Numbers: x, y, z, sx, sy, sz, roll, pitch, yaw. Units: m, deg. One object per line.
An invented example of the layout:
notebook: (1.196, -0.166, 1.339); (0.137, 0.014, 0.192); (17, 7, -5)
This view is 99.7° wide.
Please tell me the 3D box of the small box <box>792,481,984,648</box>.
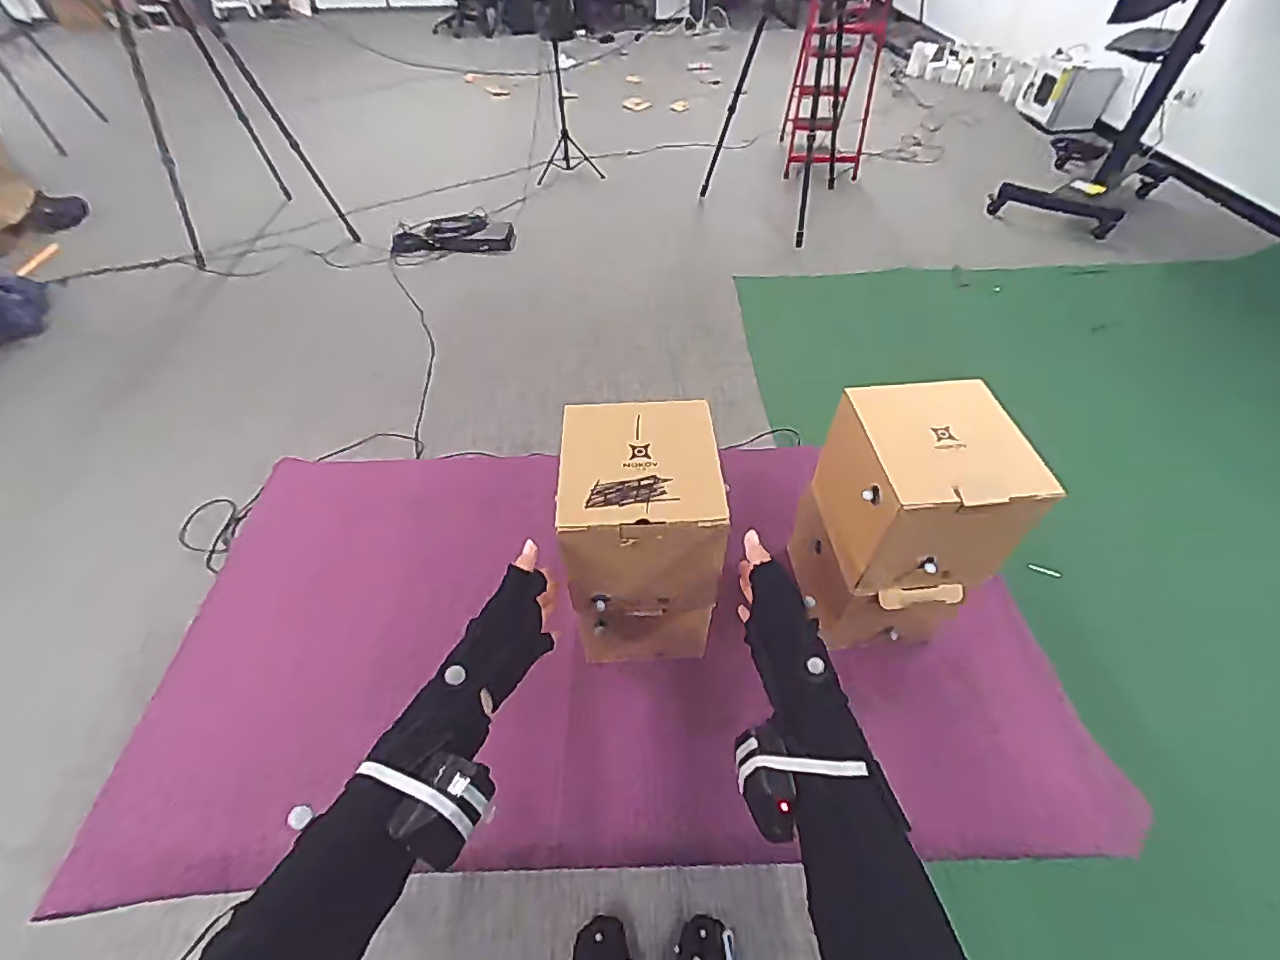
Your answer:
small box: (0.324, 0.114, 0.756); (0.168, 0.176, 0.179); (-5, 51, -2)

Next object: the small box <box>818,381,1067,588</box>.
small box: (0.326, 0.007, 0.633); (0.168, 0.176, 0.179); (-4, 51, -3)

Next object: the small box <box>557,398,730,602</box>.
small box: (0.003, 0.029, 0.616); (0.168, 0.176, 0.179); (-2, 49, -1)
